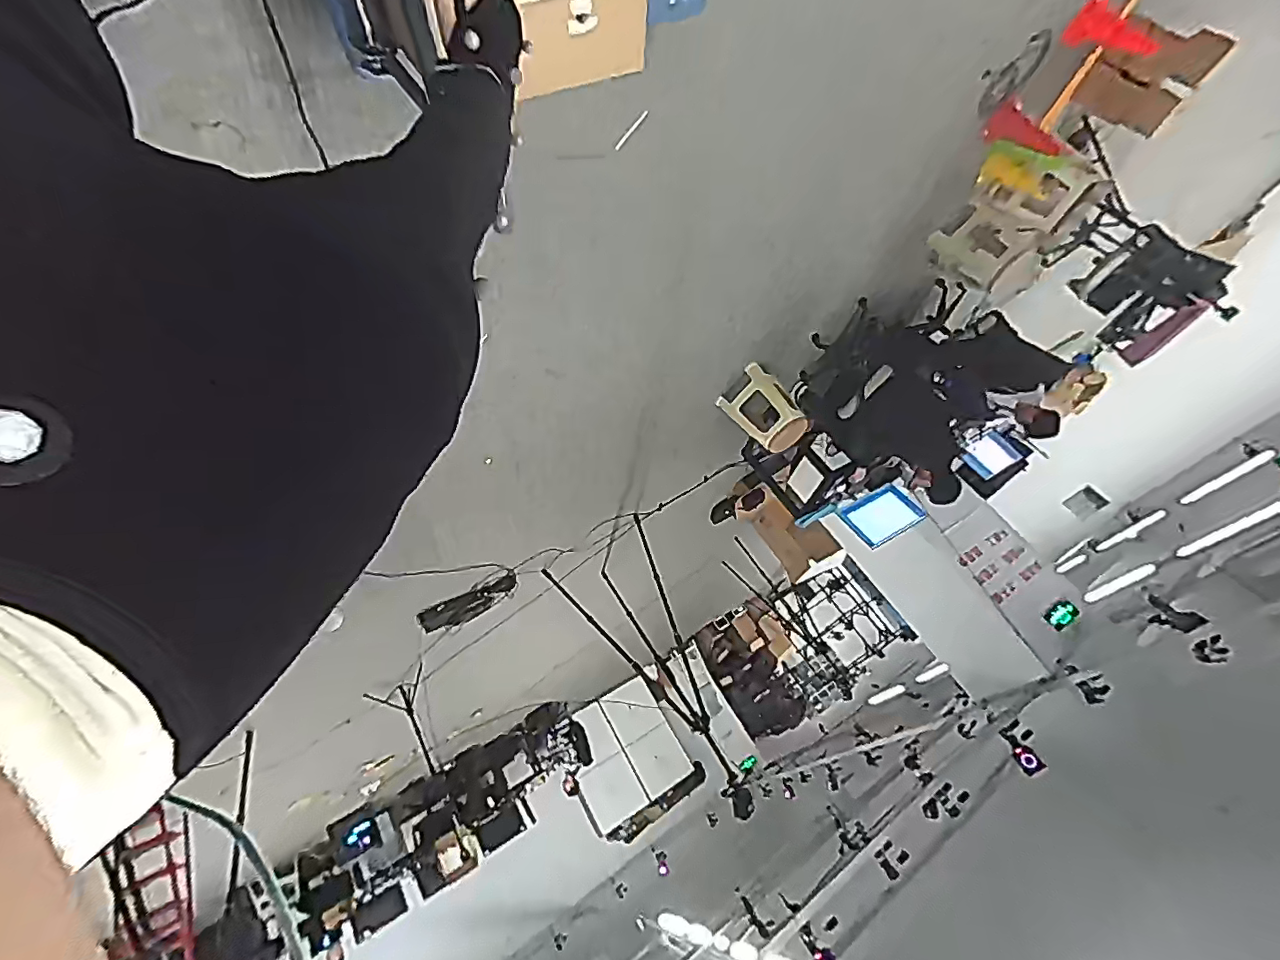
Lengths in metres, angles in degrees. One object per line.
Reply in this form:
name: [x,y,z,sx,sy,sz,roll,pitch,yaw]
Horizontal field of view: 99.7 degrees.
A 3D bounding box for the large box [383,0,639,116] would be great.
large box: [-0.249,-0.934,0.969,0.408,0.320,0.320,-28,155,-17]
